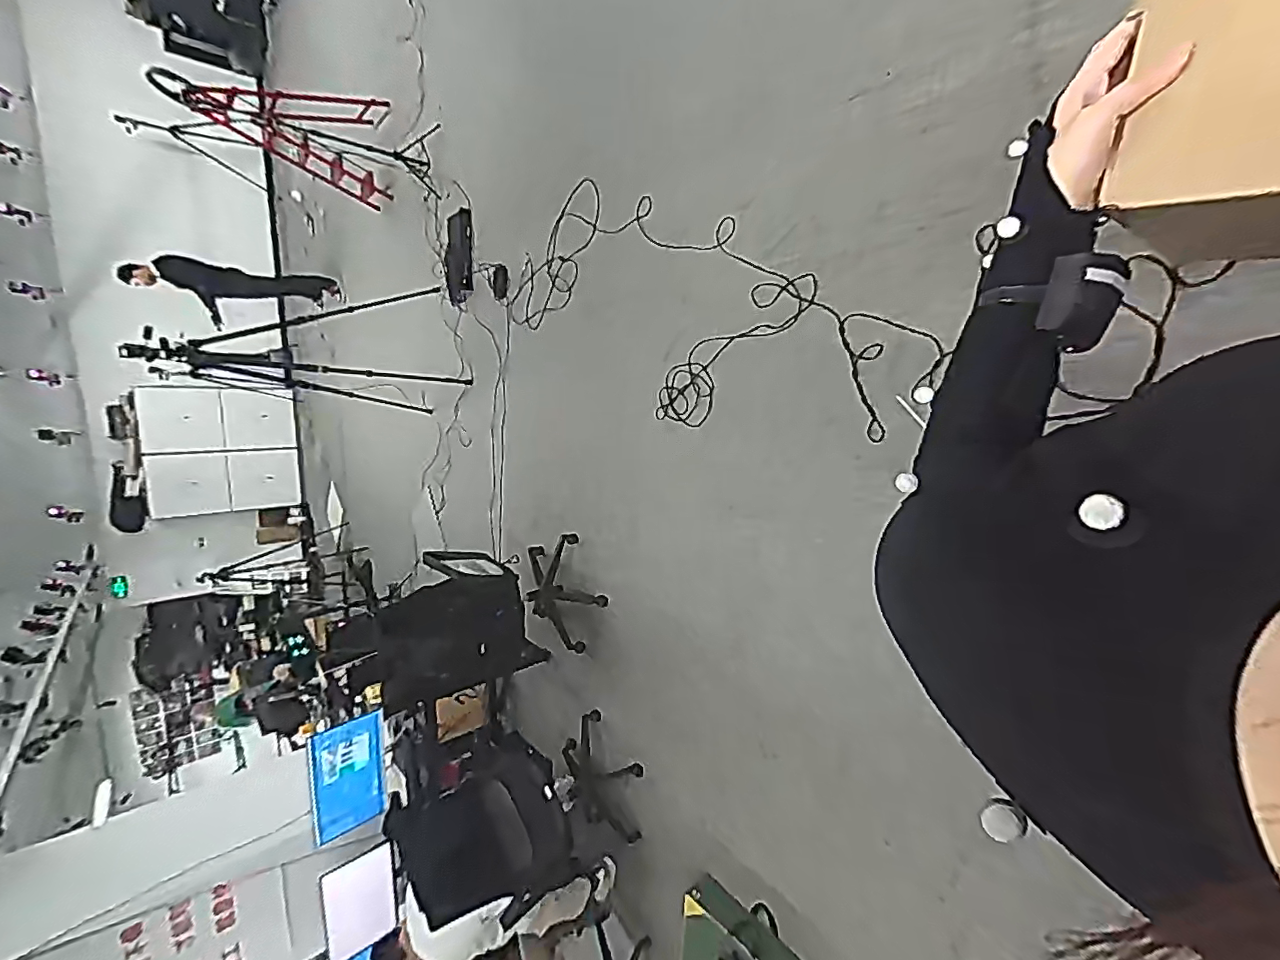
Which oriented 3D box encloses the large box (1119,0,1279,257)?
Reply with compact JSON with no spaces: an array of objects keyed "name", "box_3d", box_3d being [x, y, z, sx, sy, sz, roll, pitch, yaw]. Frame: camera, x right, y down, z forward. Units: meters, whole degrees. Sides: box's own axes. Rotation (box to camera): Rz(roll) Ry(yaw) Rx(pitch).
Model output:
[{"name":"large box","box_3d":[0.602,-0.334,0.323,0.408,0.320,0.320,19,112,46]}]
